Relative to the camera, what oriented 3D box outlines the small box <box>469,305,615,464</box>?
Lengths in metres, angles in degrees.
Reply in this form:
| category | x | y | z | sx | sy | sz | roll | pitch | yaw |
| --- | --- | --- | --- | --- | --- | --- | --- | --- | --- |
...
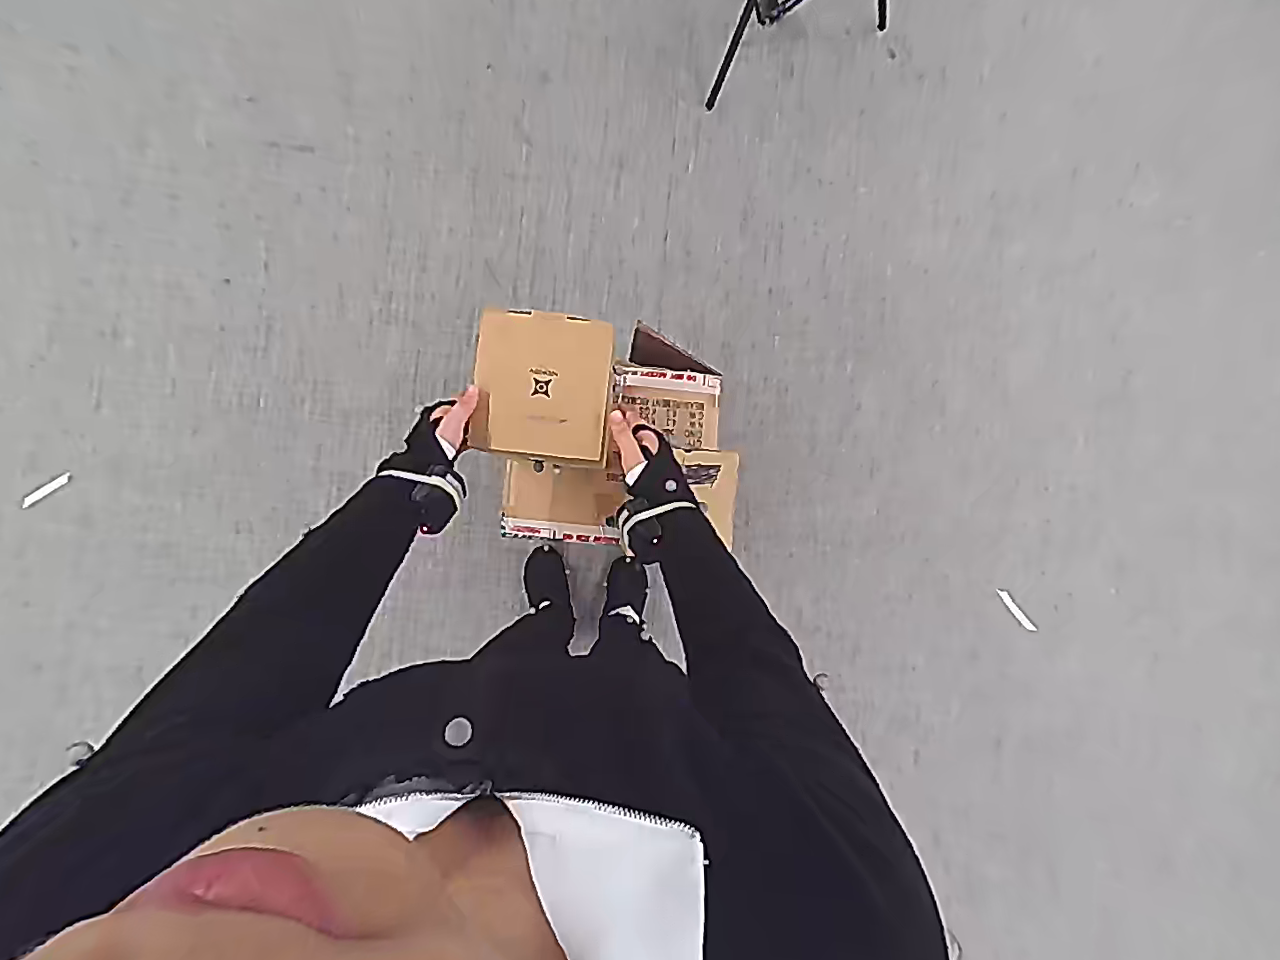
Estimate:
| category | x | y | z | sx | sy | sz | roll | pitch | yaw |
| --- | --- | --- | --- | --- | --- | --- | --- | --- | --- |
| small box | -0.125 | -0.120 | 0.746 | 0.168 | 0.176 | 0.179 | 5 | 89 | -2 |

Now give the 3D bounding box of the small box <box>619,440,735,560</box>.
| category | x | y | z | sx | sy | sz | roll | pitch | yaw |
| --- | --- | --- | --- | --- | --- | --- | --- | --- | --- |
| small box | 0.055 | 0.032 | 0.919 | 0.168 | 0.176 | 0.179 | 5 | 89 | -5 |
